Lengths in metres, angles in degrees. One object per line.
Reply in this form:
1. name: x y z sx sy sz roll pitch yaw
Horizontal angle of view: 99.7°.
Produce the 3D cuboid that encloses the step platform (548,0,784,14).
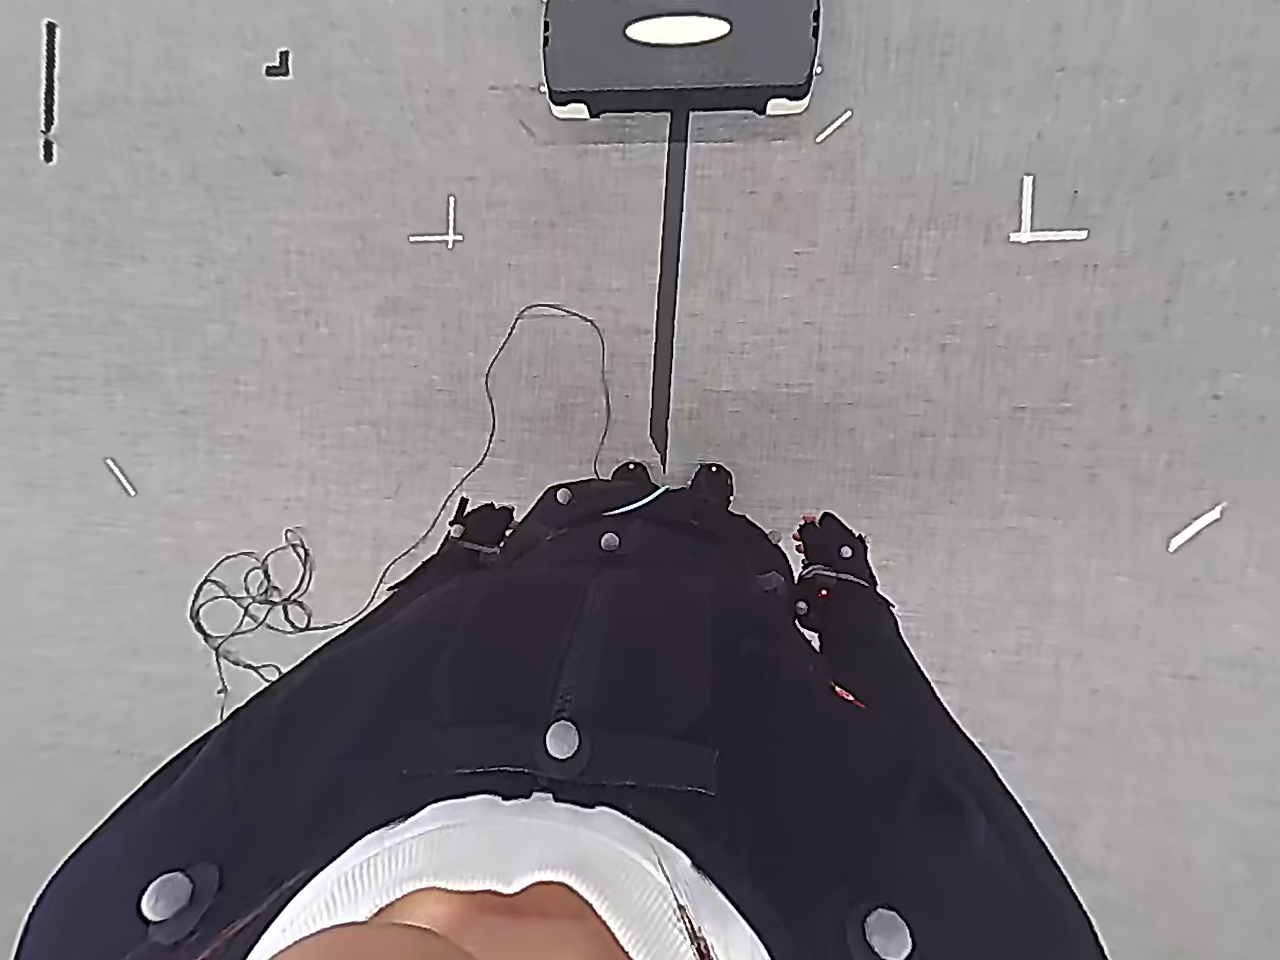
1. step platform: 0.081 -1.336 1.274 0.684 0.204 0.286 2 94 5
